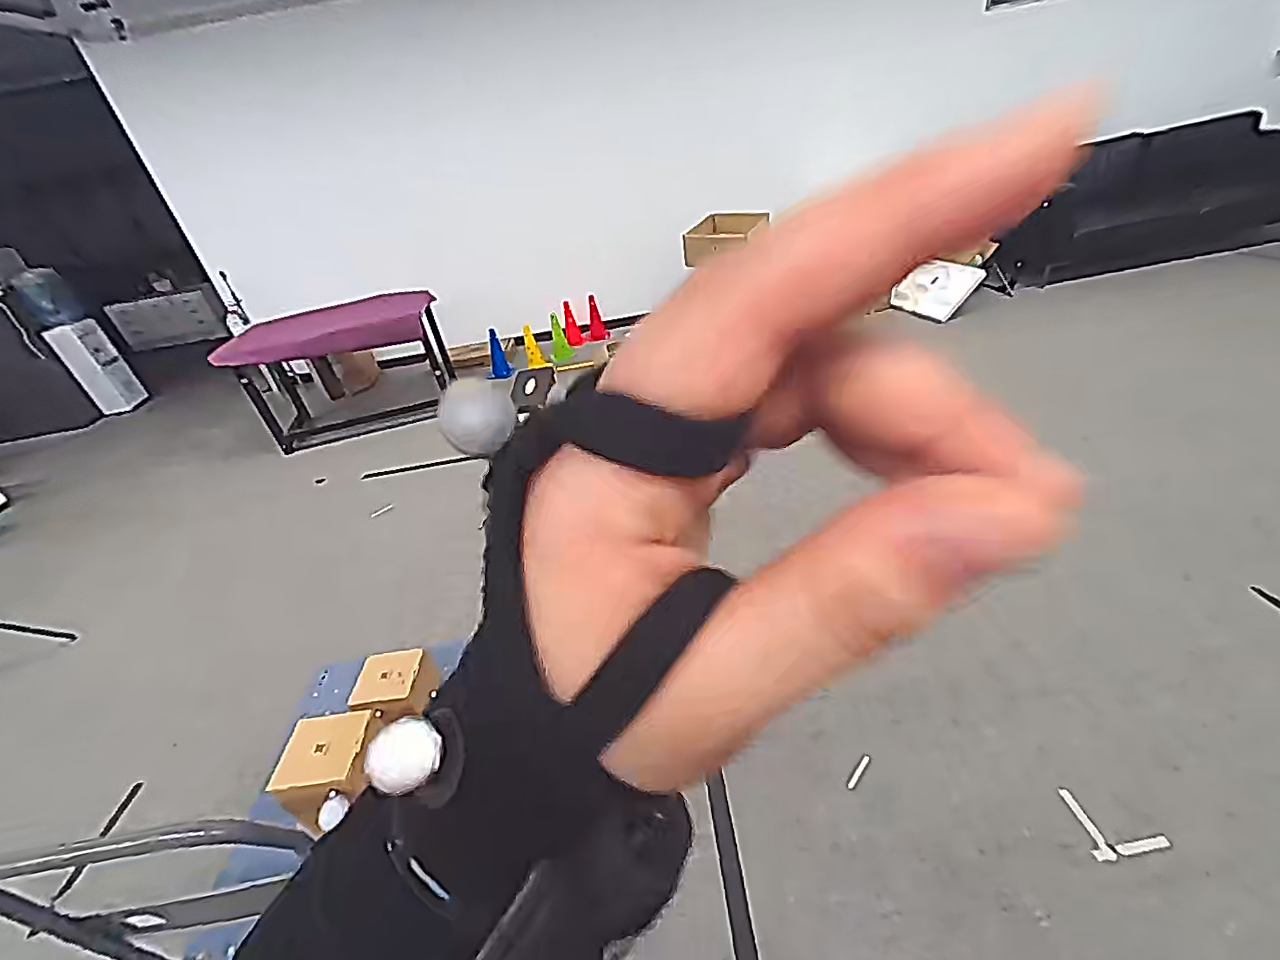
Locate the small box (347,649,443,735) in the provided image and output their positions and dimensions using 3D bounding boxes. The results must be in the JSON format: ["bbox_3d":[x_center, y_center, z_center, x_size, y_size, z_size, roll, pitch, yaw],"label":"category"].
[{"bbox_3d":[-0.703,0.620,1.570,0.179,0.176,0.168,-8,35,3],"label":"small box"}]

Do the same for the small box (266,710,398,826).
[{"bbox_3d":[-0.684,0.653,1.225,0.179,0.176,0.168,-8,34,0],"label":"small box"}]
